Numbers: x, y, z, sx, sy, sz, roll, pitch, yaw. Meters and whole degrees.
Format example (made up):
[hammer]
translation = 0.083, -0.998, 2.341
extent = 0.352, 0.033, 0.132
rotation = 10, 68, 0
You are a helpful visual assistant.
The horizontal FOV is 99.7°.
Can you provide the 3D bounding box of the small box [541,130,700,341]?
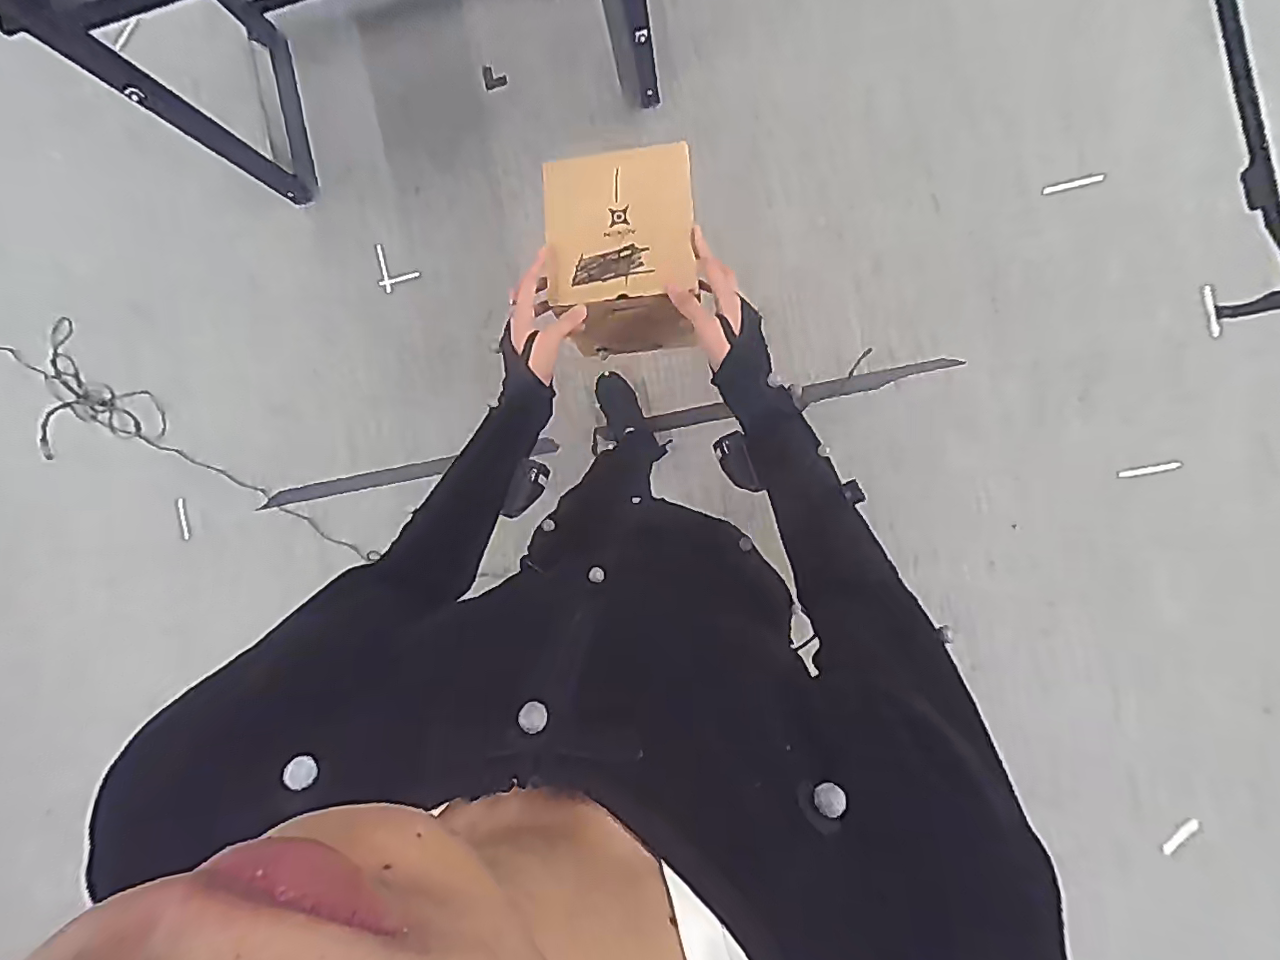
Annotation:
[small box]
translation = -0.015, -0.280, 0.663
extent = 0.168, 0.176, 0.179
rotation = -4, 84, 7
